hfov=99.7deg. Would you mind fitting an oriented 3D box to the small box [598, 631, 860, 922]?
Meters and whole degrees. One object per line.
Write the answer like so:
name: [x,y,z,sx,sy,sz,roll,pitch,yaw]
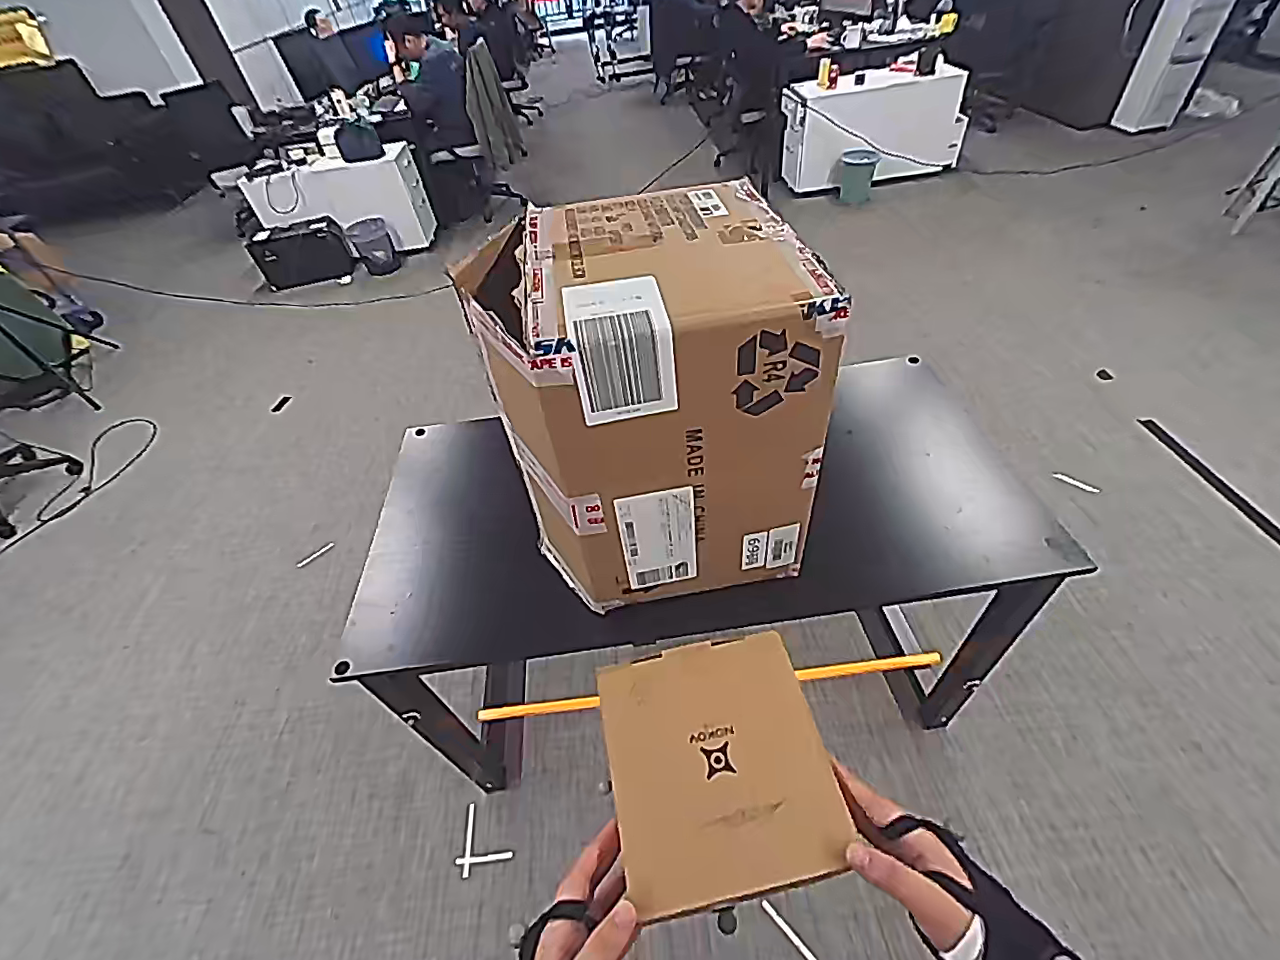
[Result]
small box: [0.060,0.262,0.478,0.168,0.176,0.179,-11,50,-5]
